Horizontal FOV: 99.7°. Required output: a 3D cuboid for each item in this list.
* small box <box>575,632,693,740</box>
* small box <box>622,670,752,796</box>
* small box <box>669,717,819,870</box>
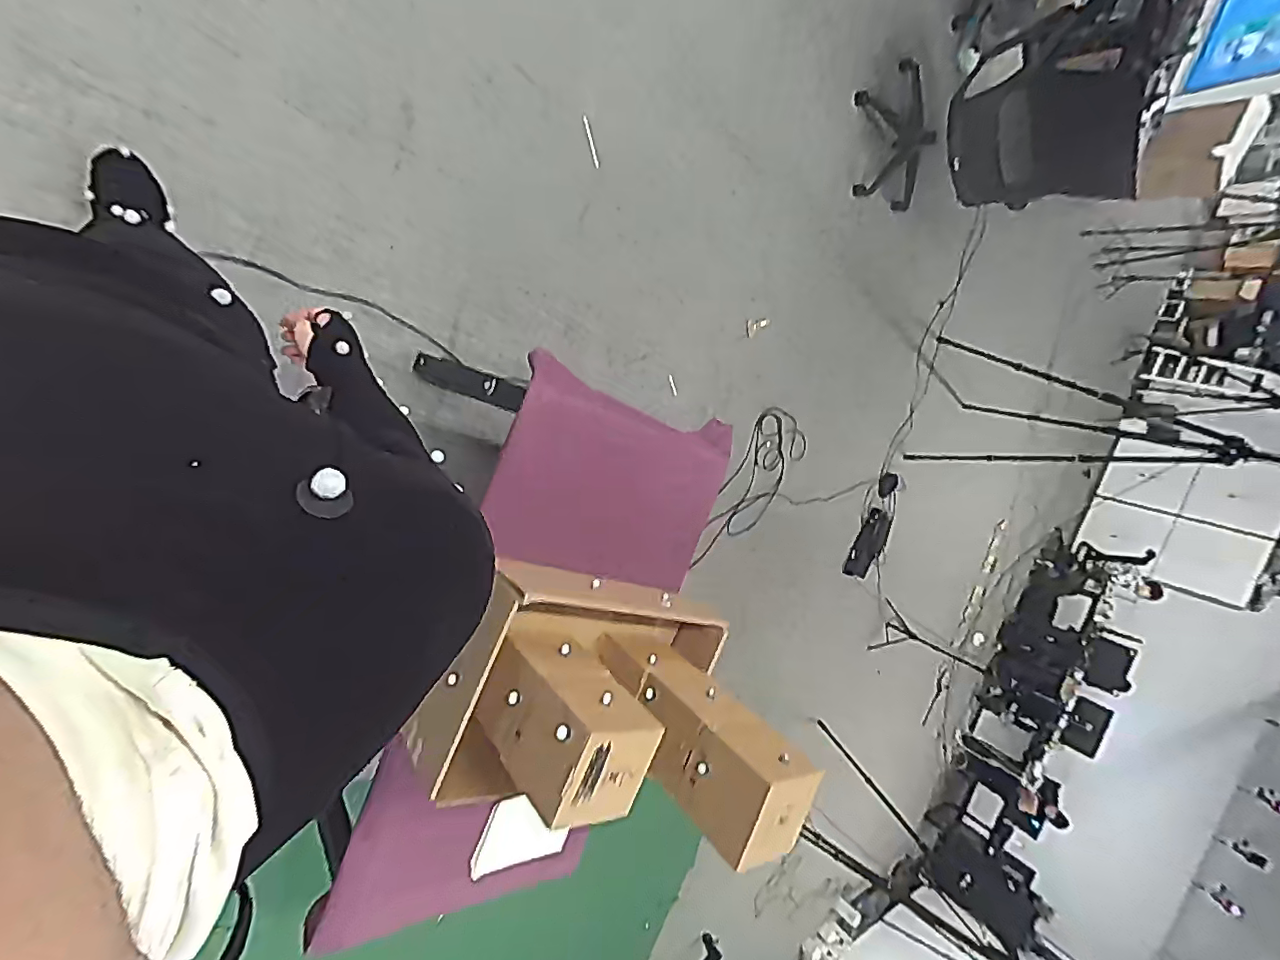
[{"bbox_3d":[-0.014,0.460,1.230,0.179,0.176,0.168,18,95,-41],"label":"small box"},{"bbox_3d":[0.091,0.509,1.113,0.179,0.176,0.168,18,96,-42],"label":"small box"},{"bbox_3d":[0.188,0.558,0.991,0.179,0.176,0.168,18,95,-41],"label":"small box"}]
